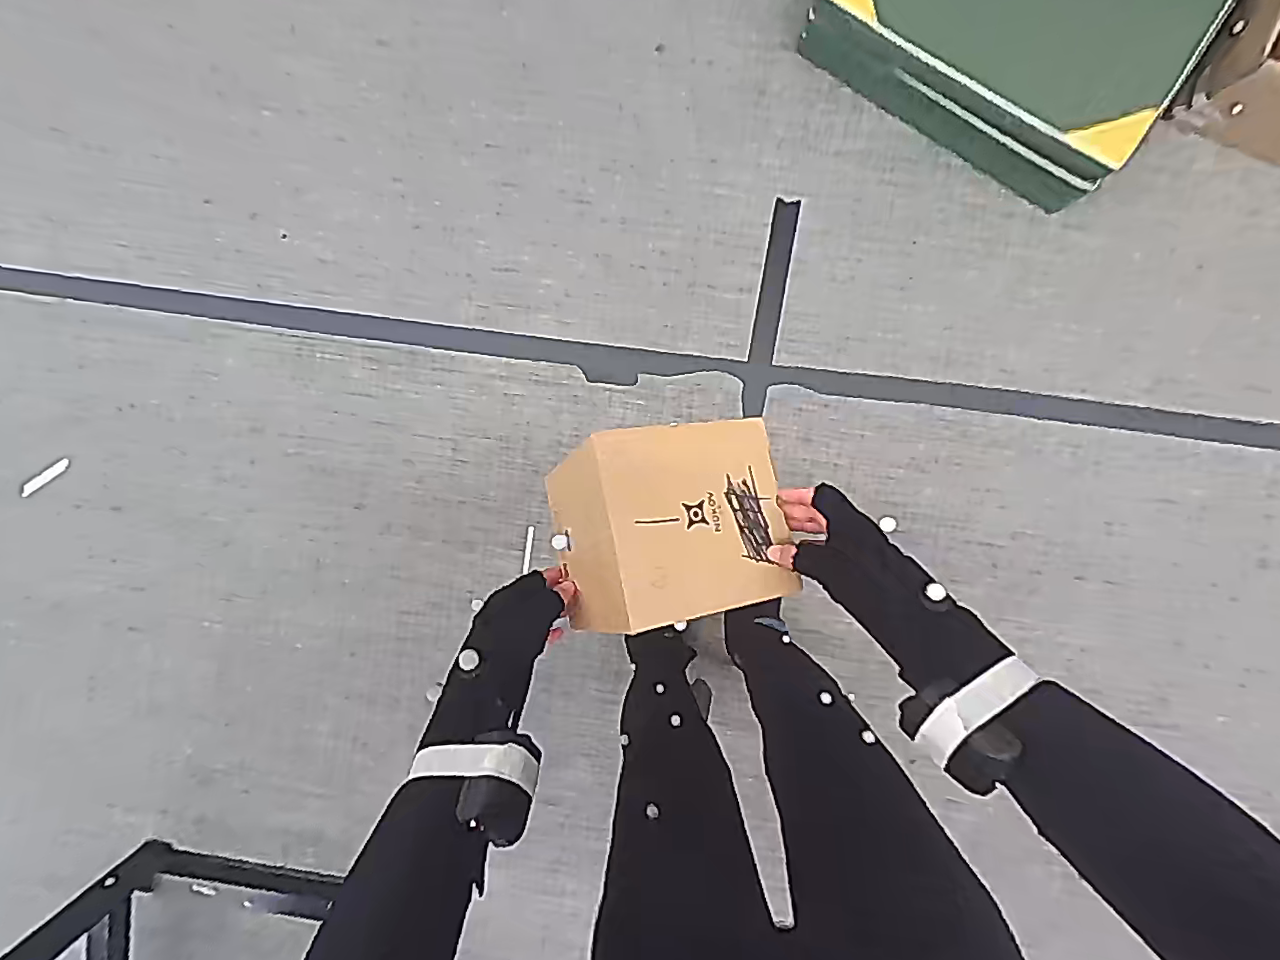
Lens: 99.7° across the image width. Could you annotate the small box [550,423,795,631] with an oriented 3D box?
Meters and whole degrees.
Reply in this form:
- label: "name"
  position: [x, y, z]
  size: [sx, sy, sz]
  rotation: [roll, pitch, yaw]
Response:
- label: "small box"
  position: [0.022, 0.049, 0.550]
  size: [0.179, 0.176, 0.168]
  rotation: [-8, 80, -24]
